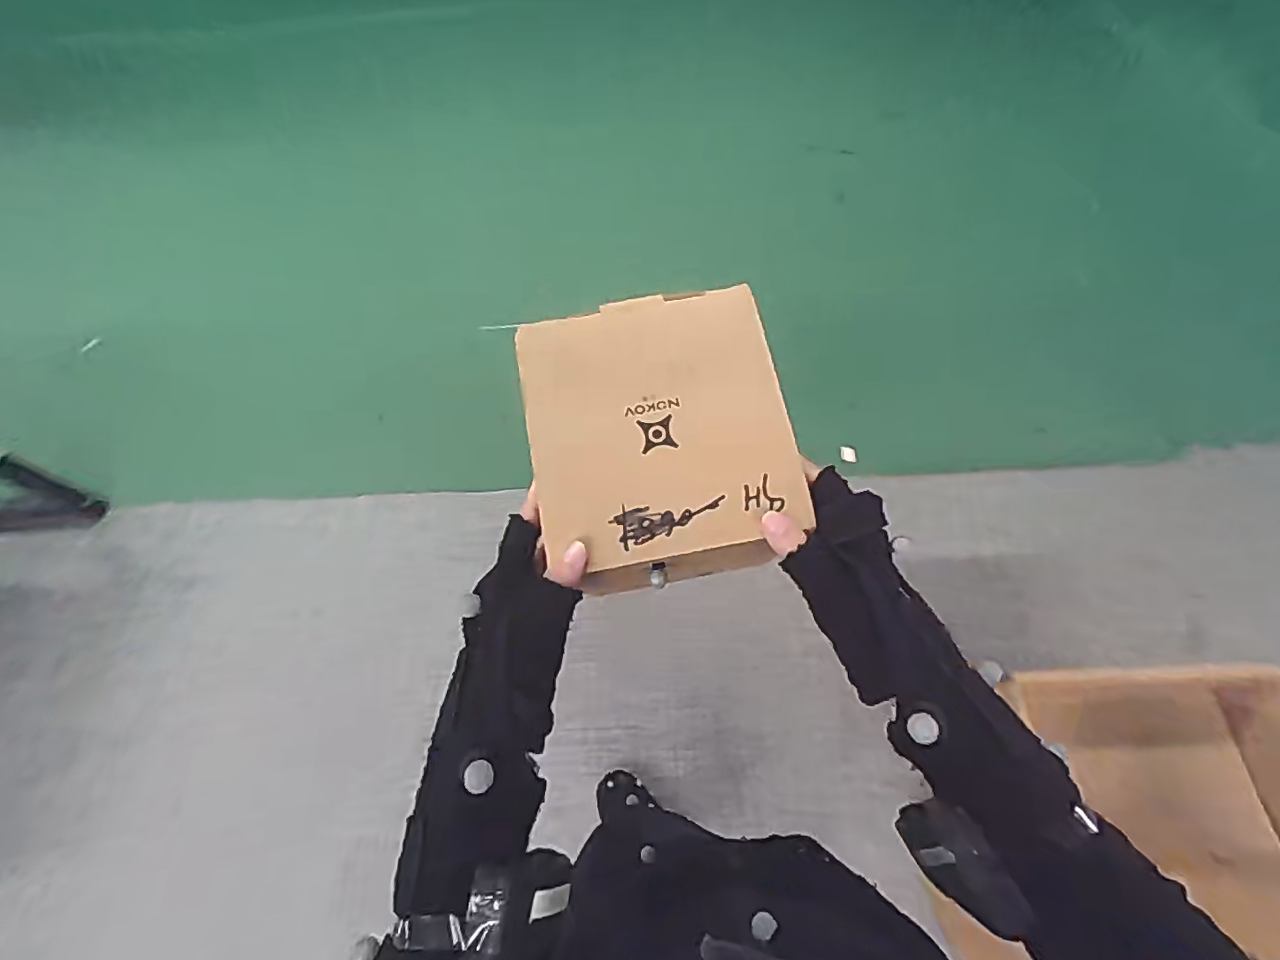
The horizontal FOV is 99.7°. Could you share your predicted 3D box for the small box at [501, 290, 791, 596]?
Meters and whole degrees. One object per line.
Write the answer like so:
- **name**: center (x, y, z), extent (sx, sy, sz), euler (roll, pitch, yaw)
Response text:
- **small box**: center (0.001, -0.015, 0.430), extent (0.168, 0.176, 0.179), euler (-12, 73, 0)
